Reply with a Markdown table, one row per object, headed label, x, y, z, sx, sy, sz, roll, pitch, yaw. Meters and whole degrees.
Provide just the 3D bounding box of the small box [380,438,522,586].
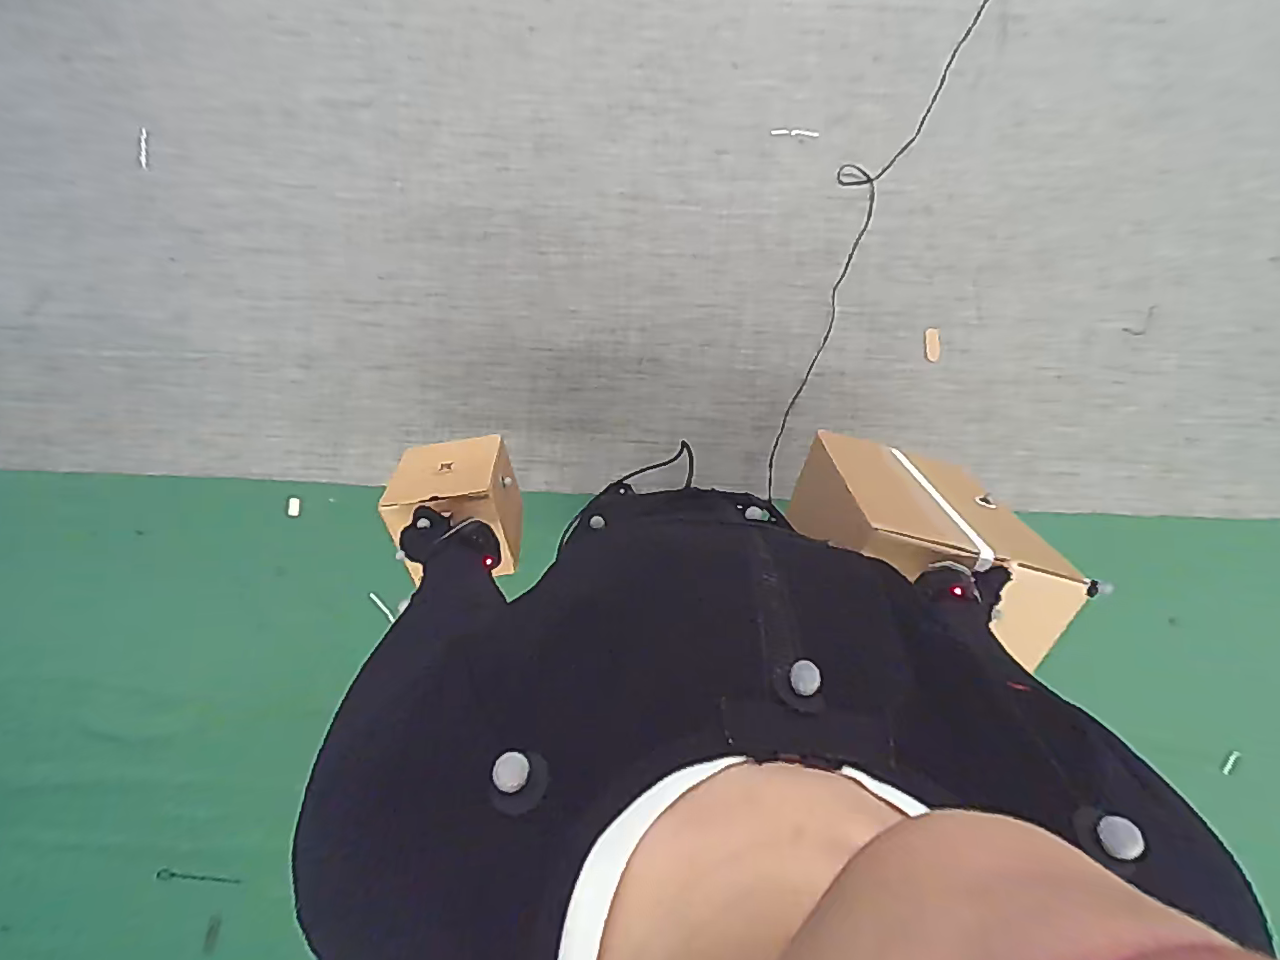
| label | x | y | z | sx | sy | sz | roll | pitch | yaw |
| --- | --- | --- | --- | --- | --- | --- | --- | --- | --- |
| small box | -0.301 | 0.052 | 0.908 | 0.168 | 0.179 | 0.176 | -9 | 124 | -1 |
